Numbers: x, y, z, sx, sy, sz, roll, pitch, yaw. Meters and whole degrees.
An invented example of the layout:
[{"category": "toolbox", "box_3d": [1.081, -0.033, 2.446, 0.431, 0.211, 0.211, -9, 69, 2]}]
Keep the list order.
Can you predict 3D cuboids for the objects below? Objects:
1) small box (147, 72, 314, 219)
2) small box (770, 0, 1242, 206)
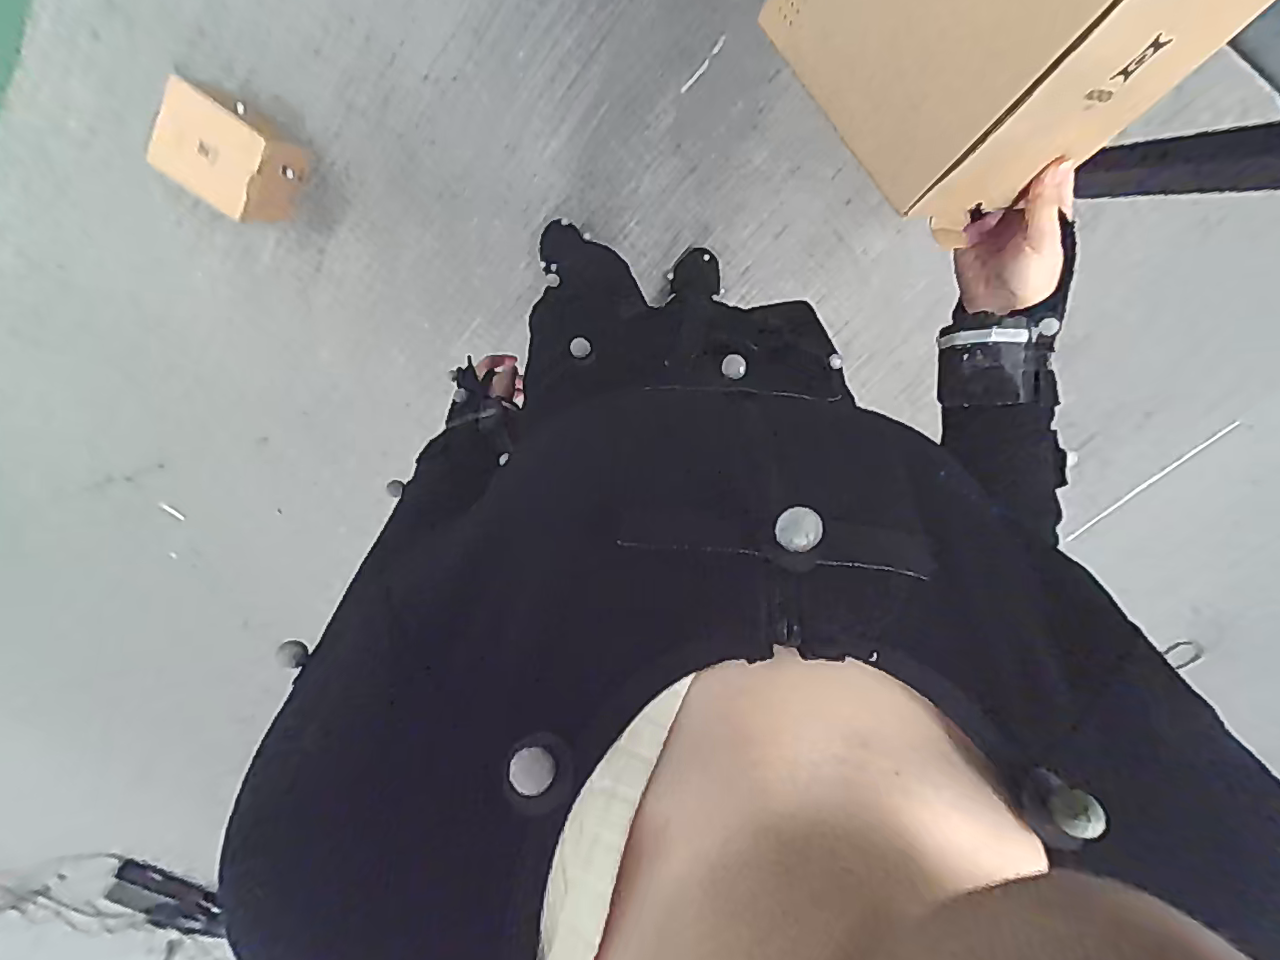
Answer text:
[{"category": "small box", "box_3d": [-0.781, -0.636, 1.050, 0.179, 0.176, 0.168, 34, 110, -14]}, {"category": "small box", "box_3d": [0.197, -0.284, 0.295, 0.176, 0.168, 0.179, 62, 148, 12]}]
